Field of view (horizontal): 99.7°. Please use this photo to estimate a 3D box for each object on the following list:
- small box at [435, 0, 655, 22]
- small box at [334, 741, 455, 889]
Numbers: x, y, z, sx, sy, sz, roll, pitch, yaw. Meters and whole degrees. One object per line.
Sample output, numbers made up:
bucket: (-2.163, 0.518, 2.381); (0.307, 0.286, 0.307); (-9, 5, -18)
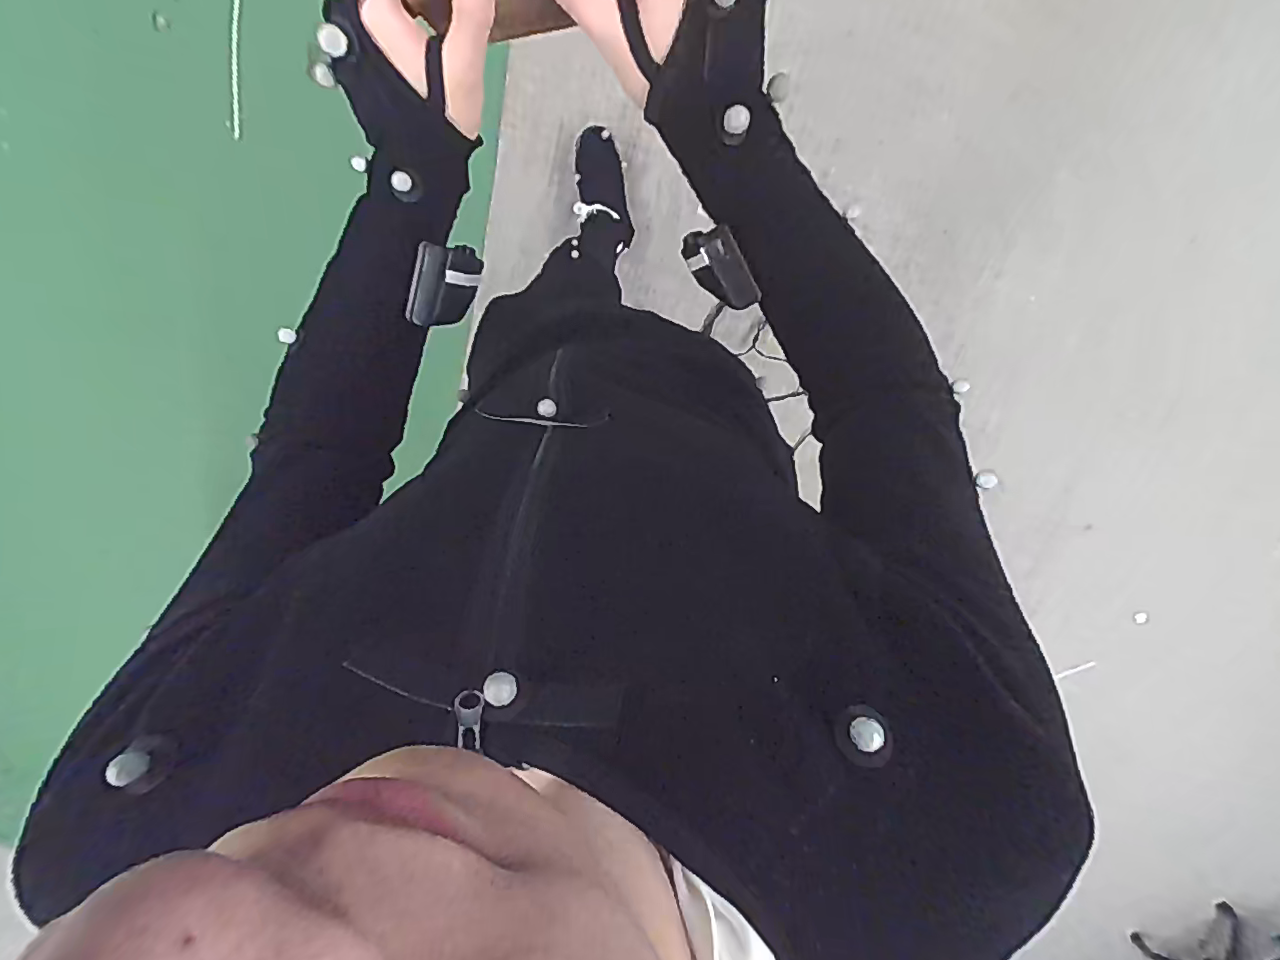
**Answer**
small box: (-0.068, -0.371, 0.267); (0.168, 0.176, 0.179); (-3, 104, 8)
small box: (-0.483, 0.663, 1.080); (0.168, 0.176, 0.179); (13, 113, -3)
